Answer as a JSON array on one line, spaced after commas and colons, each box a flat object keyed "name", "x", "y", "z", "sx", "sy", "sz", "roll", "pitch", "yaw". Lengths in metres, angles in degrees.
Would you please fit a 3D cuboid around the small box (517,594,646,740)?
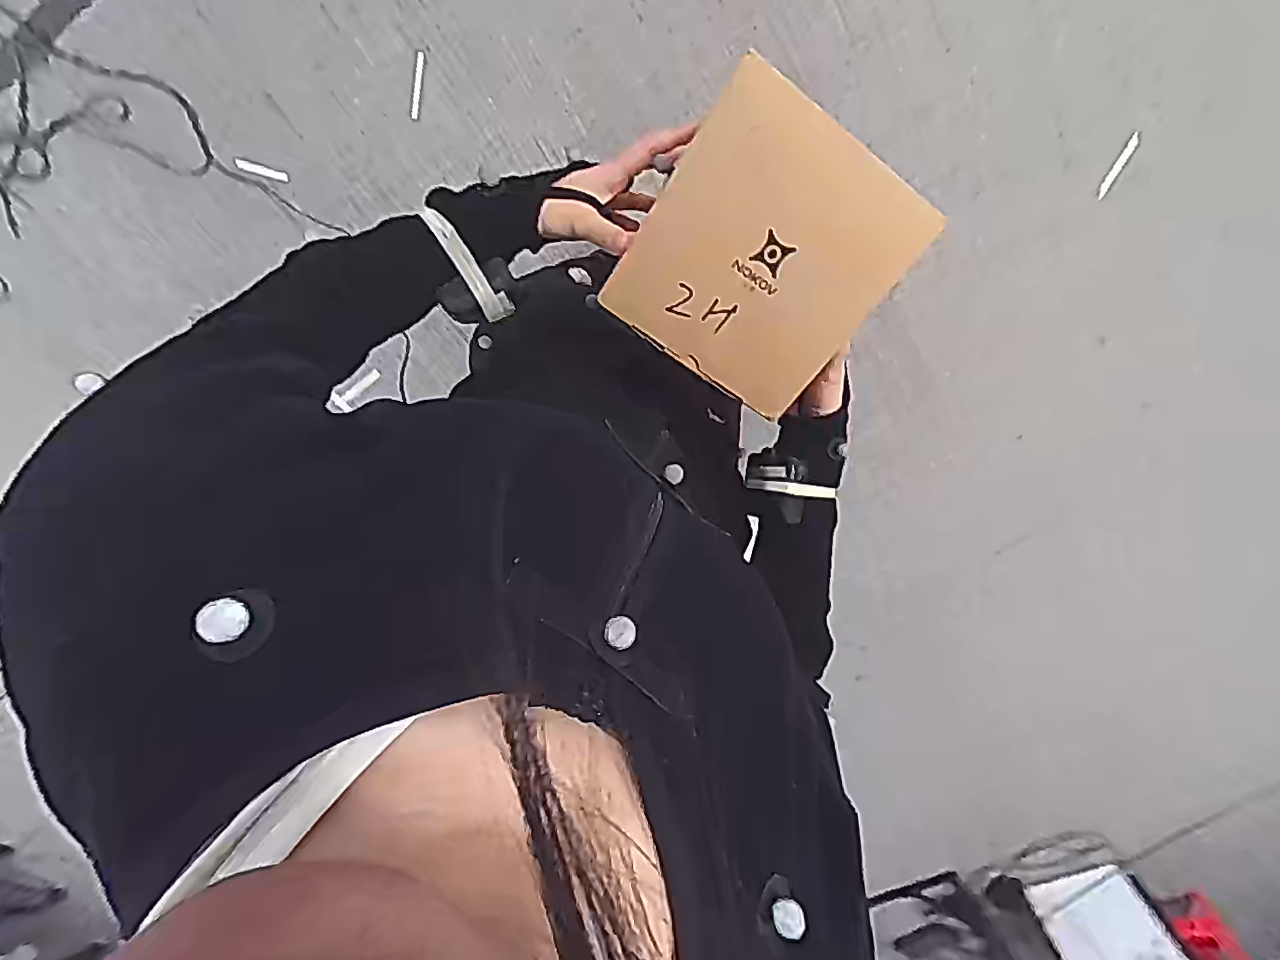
[{"name": "small box", "x": -0.104, "y": 0.337, "z": 1.010, "sx": 0.168, "sy": 0.176, "sz": 0.179, "roll": -28, "pitch": 116, "yaw": 11}]

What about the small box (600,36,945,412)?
[{"name": "small box", "x": 0.087, "y": -0.192, "z": 0.432, "sx": 0.168, "sy": 0.176, "sz": 0.179, "roll": 31, "pitch": 117, "yaw": -12}]
